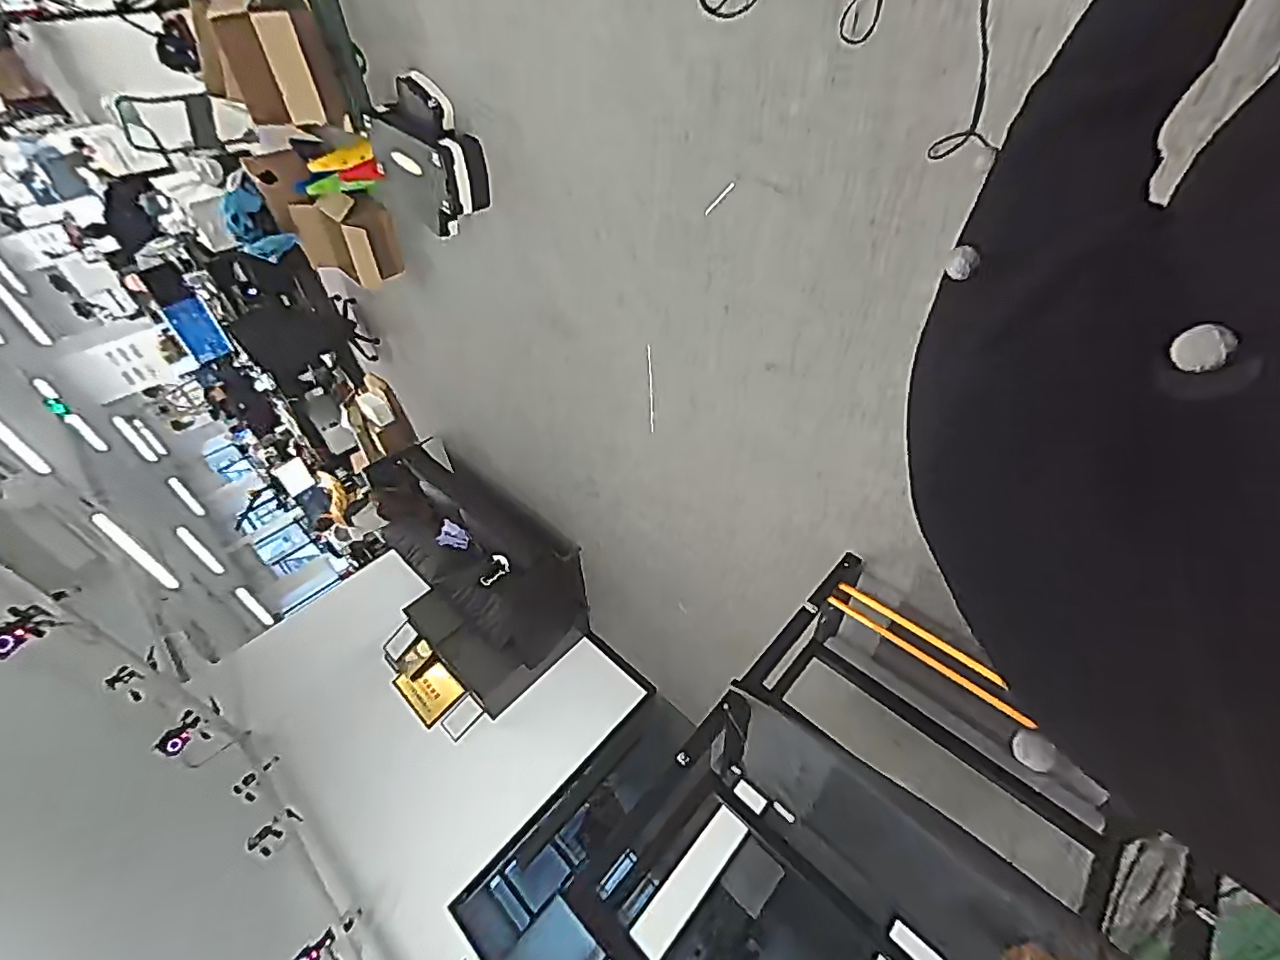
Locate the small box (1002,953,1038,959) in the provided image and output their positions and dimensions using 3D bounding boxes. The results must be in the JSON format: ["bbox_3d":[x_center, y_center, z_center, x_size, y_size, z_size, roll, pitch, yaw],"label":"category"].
[{"bbox_3d":[0.941,1.278,1.281,0.168,0.176,0.179,31,143,32],"label":"small box"}]
